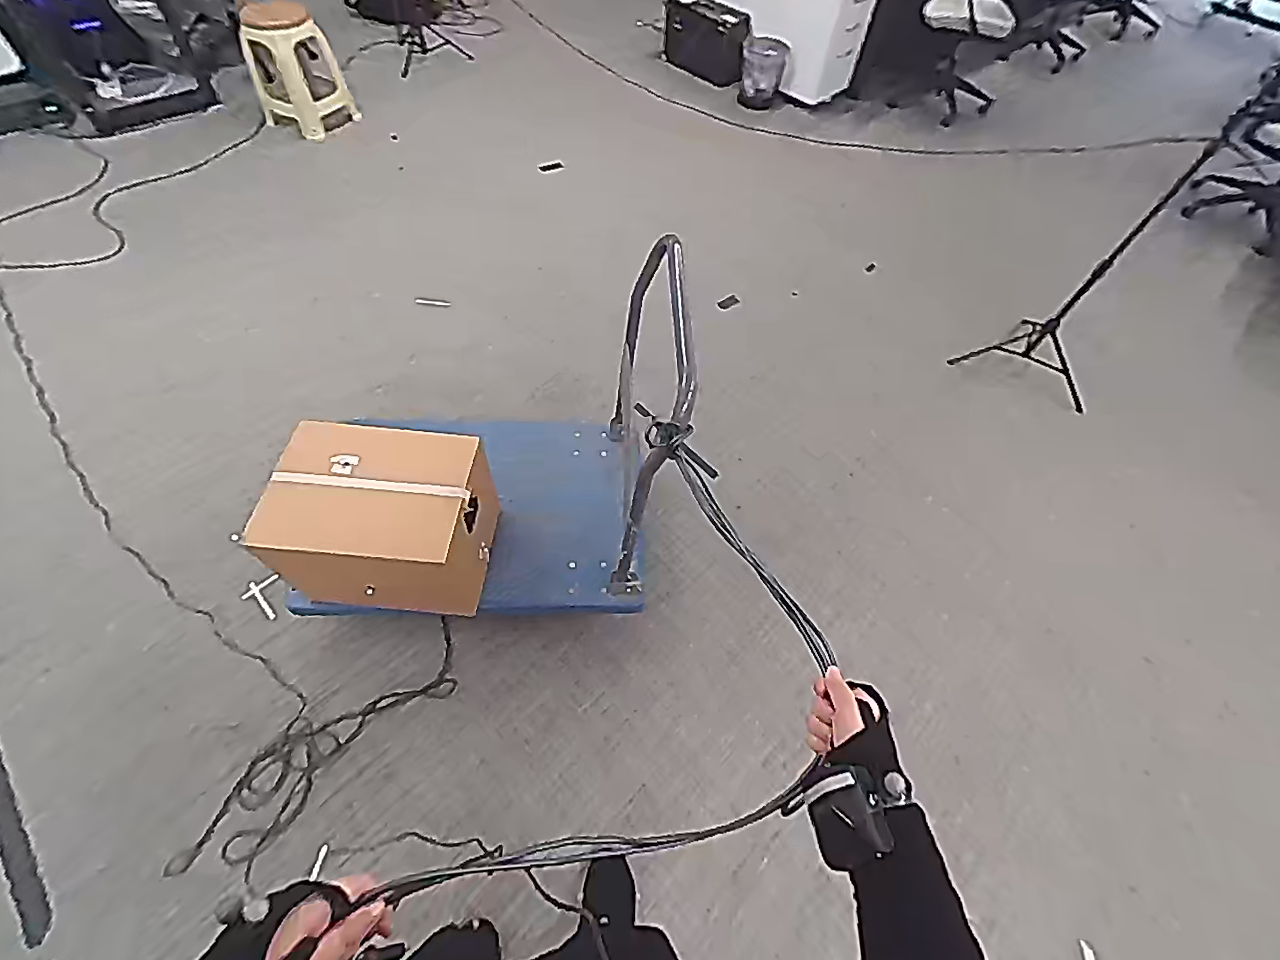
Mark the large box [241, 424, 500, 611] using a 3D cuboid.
[{"bbox_3d":[-0.569,0.098,1.246,0.408,0.320,0.320,5,56,-1],"label":"large box"}]
